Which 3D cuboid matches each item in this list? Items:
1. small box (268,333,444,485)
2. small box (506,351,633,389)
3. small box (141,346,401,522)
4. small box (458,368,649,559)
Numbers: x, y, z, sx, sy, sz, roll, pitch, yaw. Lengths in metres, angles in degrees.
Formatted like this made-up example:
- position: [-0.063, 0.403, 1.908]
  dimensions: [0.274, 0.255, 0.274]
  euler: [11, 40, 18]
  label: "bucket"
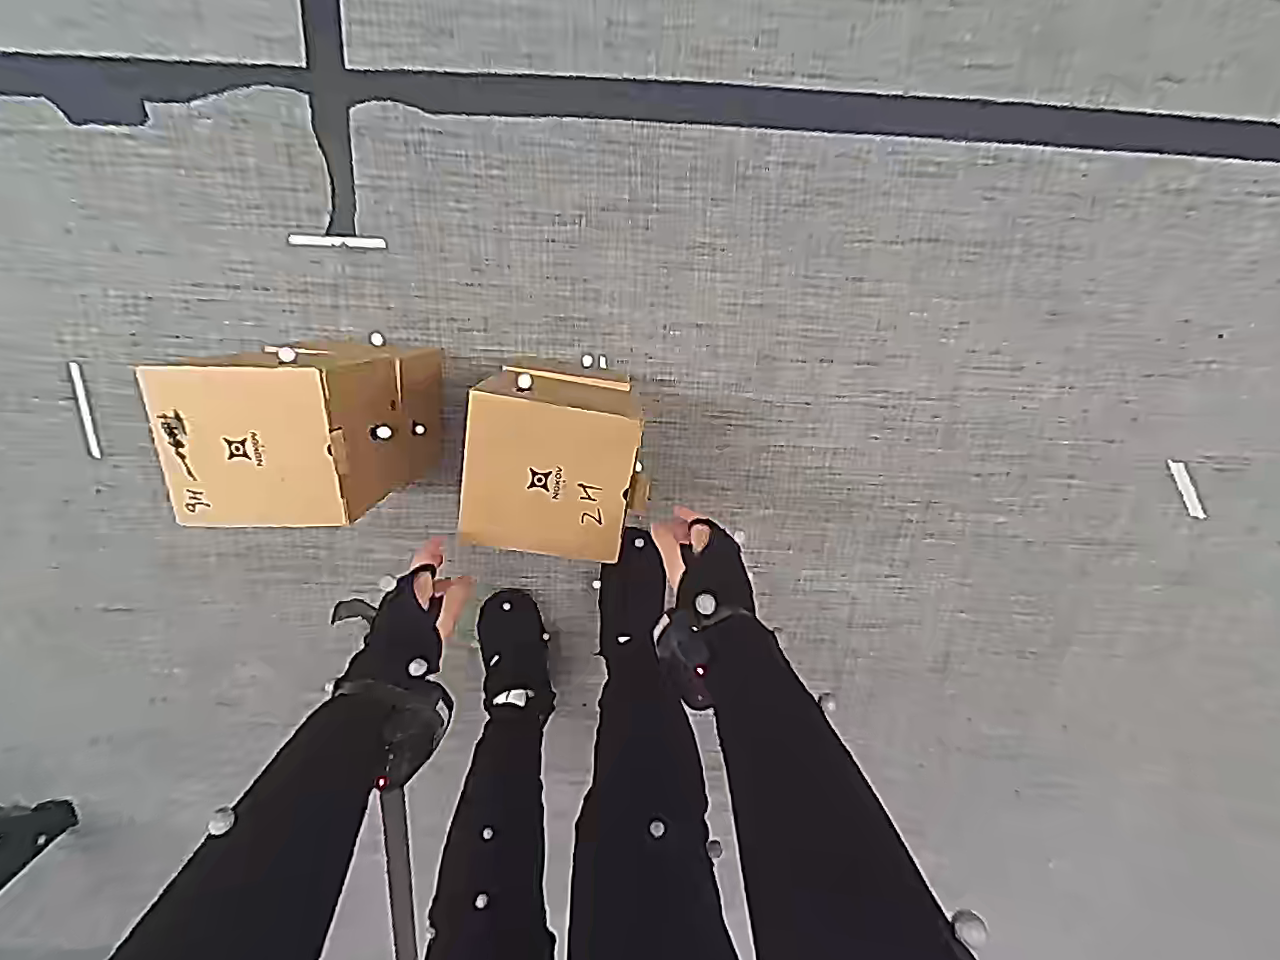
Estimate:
- position: [-0.384, -0.107, 0.764]
  dimensions: [0.168, 0.176, 0.179]
  euler: [5, 107, -4]
  label: "small box"
- position: [-0.103, -0.081, 0.784]
  dimensions: [0.168, 0.176, 0.179]
  euler: [8, 107, -5]
  label: "small box"
- position: [-0.384, -0.060, 0.606]
  dimensions: [0.179, 0.176, 0.168]
  euler: [1, 107, -3]
  label: "small box"
- position: [-0.094, -0.029, 0.628]
  dimensions: [0.179, 0.176, 0.168]
  euler: [10, 108, -6]
  label: "small box"
